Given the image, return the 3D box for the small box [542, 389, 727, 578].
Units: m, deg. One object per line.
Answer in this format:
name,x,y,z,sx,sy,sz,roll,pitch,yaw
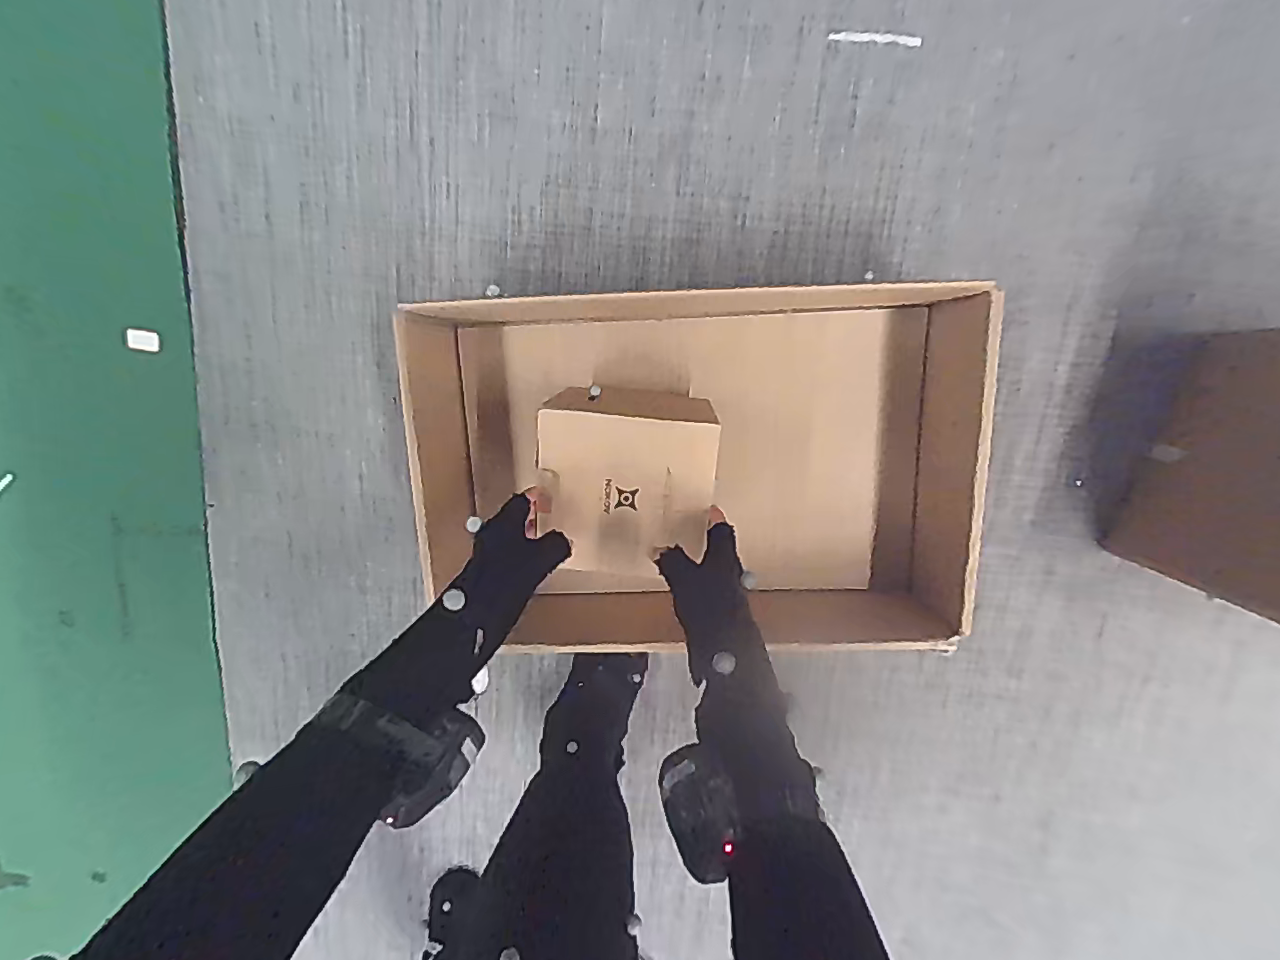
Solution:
small box,-0.006,-0.007,0.611,0.179,0.176,0.168,4,107,1
